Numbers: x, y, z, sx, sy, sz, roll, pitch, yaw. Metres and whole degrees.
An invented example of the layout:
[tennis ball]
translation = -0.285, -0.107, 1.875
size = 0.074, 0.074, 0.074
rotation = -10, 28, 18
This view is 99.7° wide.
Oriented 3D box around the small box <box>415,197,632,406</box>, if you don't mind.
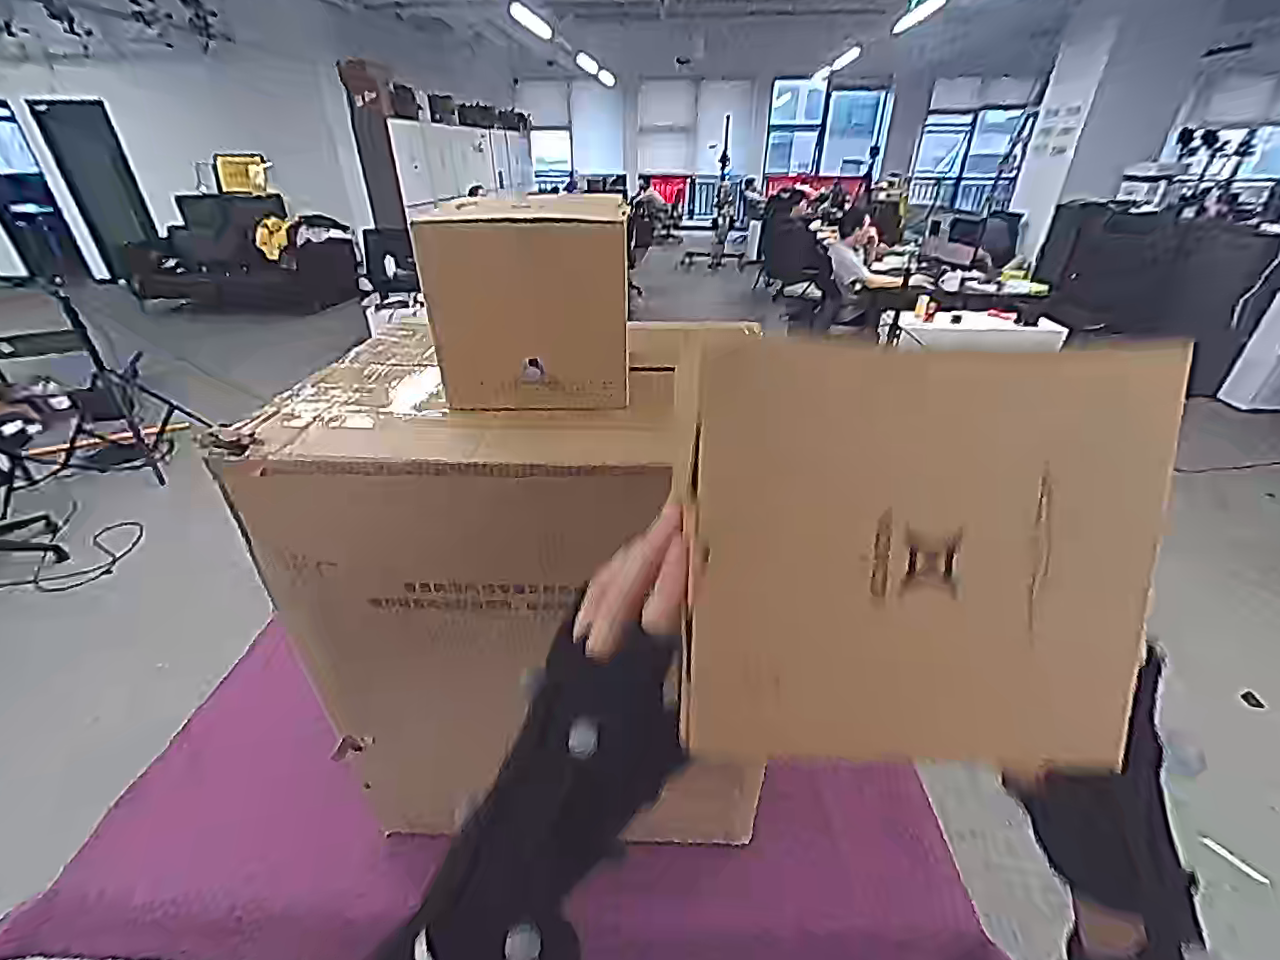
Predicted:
[small box]
translation = -0.098, -0.182, 0.547
size = 0.179, 0.176, 0.168
rotation = 0, 32, -1
